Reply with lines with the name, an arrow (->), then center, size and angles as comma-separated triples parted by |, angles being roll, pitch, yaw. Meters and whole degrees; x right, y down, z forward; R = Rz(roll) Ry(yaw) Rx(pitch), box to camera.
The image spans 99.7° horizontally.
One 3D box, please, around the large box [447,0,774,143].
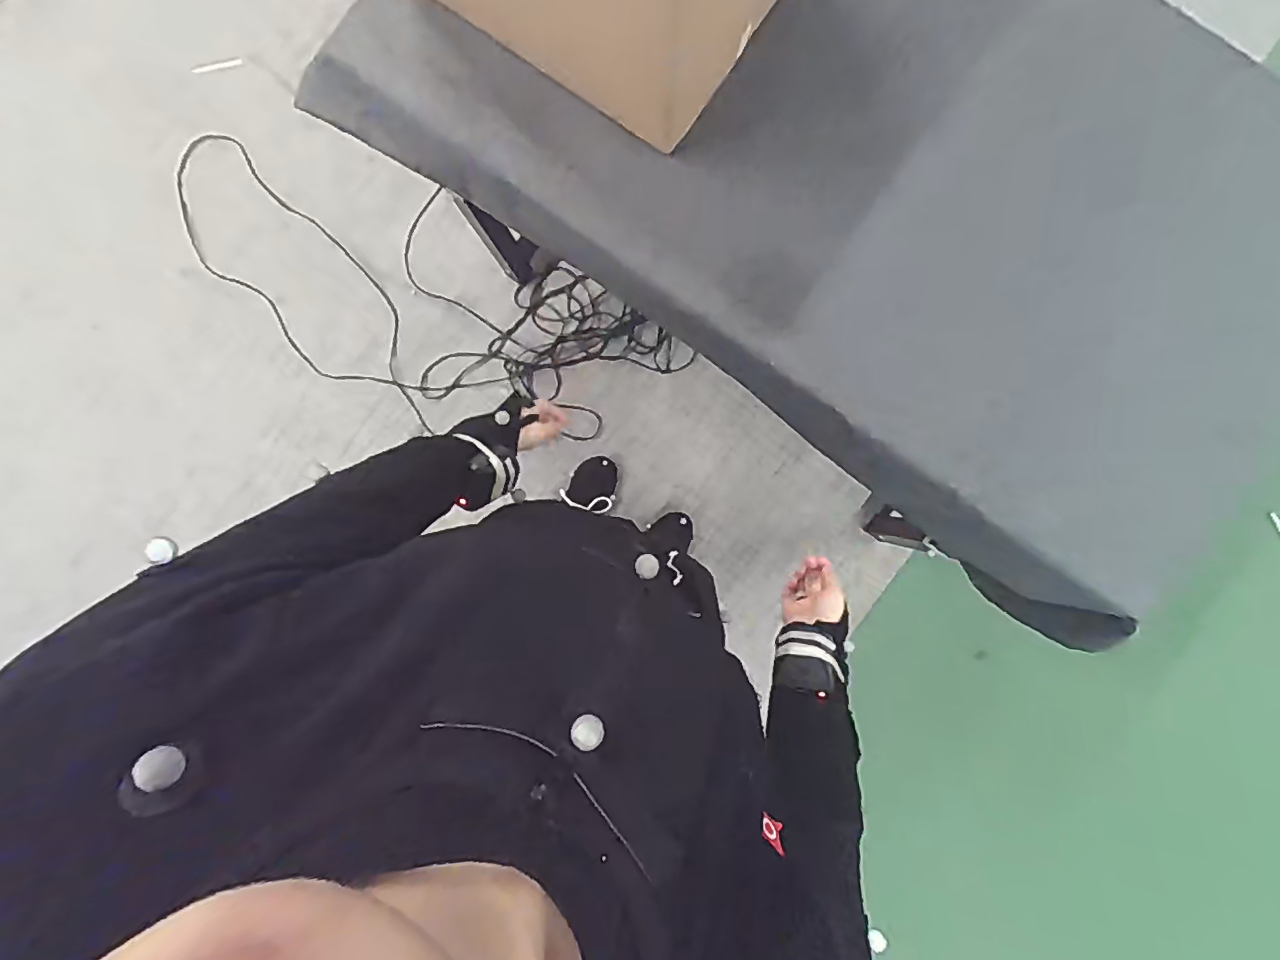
large box -> -0.040, -0.638, 0.513 | 0.408, 0.320, 0.320 | 34, 91, 0
